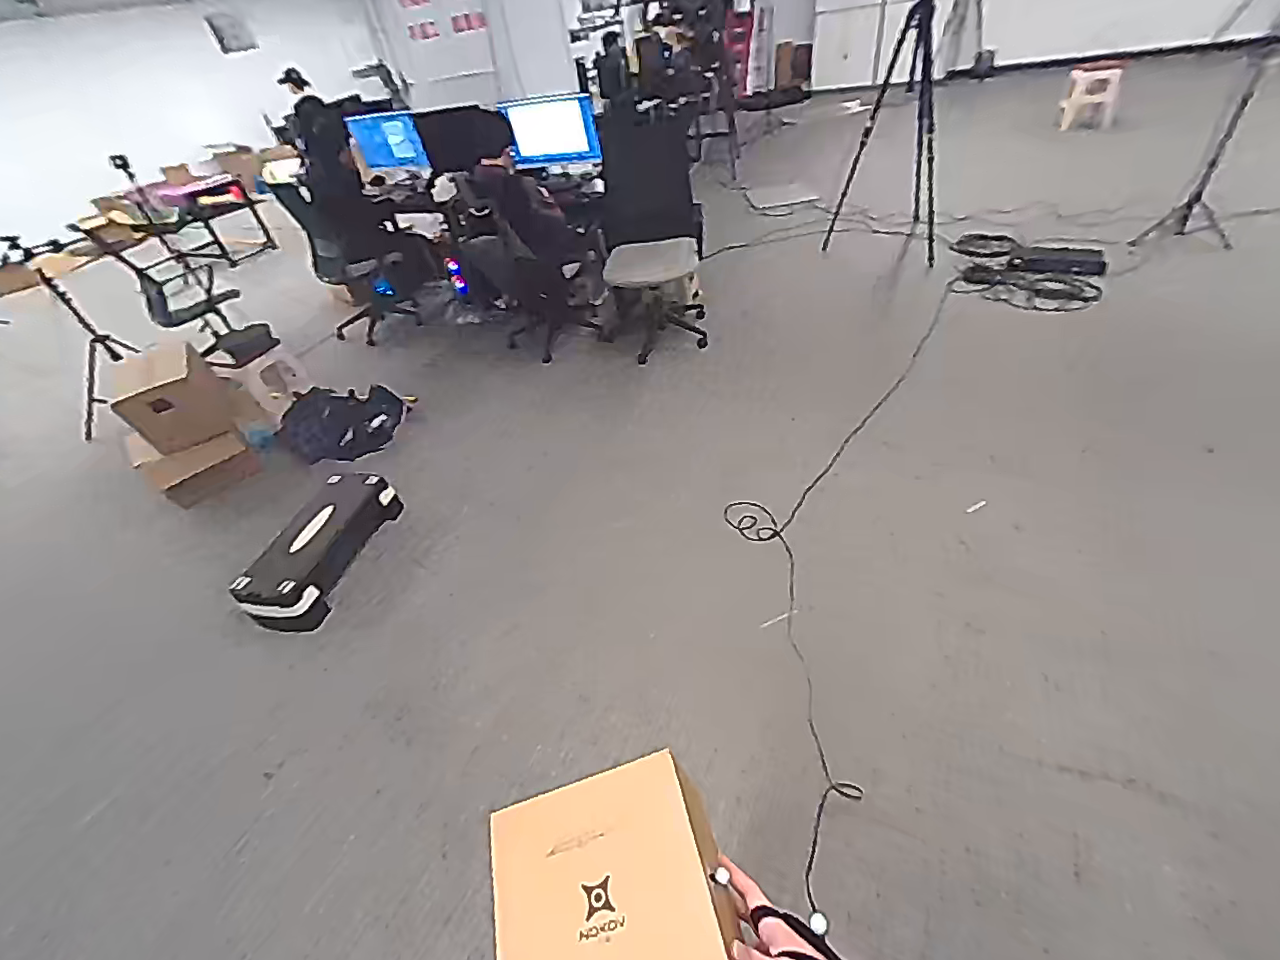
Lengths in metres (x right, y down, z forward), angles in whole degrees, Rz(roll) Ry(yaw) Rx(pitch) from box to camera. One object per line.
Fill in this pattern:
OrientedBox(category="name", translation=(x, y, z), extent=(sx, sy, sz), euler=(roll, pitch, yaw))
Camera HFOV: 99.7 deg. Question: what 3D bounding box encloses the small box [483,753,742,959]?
OrientedBox(category="small box", translation=(-0.017, 0.369, 0.460), extent=(0.168, 0.176, 0.179), euler=(-20, 46, 0))
